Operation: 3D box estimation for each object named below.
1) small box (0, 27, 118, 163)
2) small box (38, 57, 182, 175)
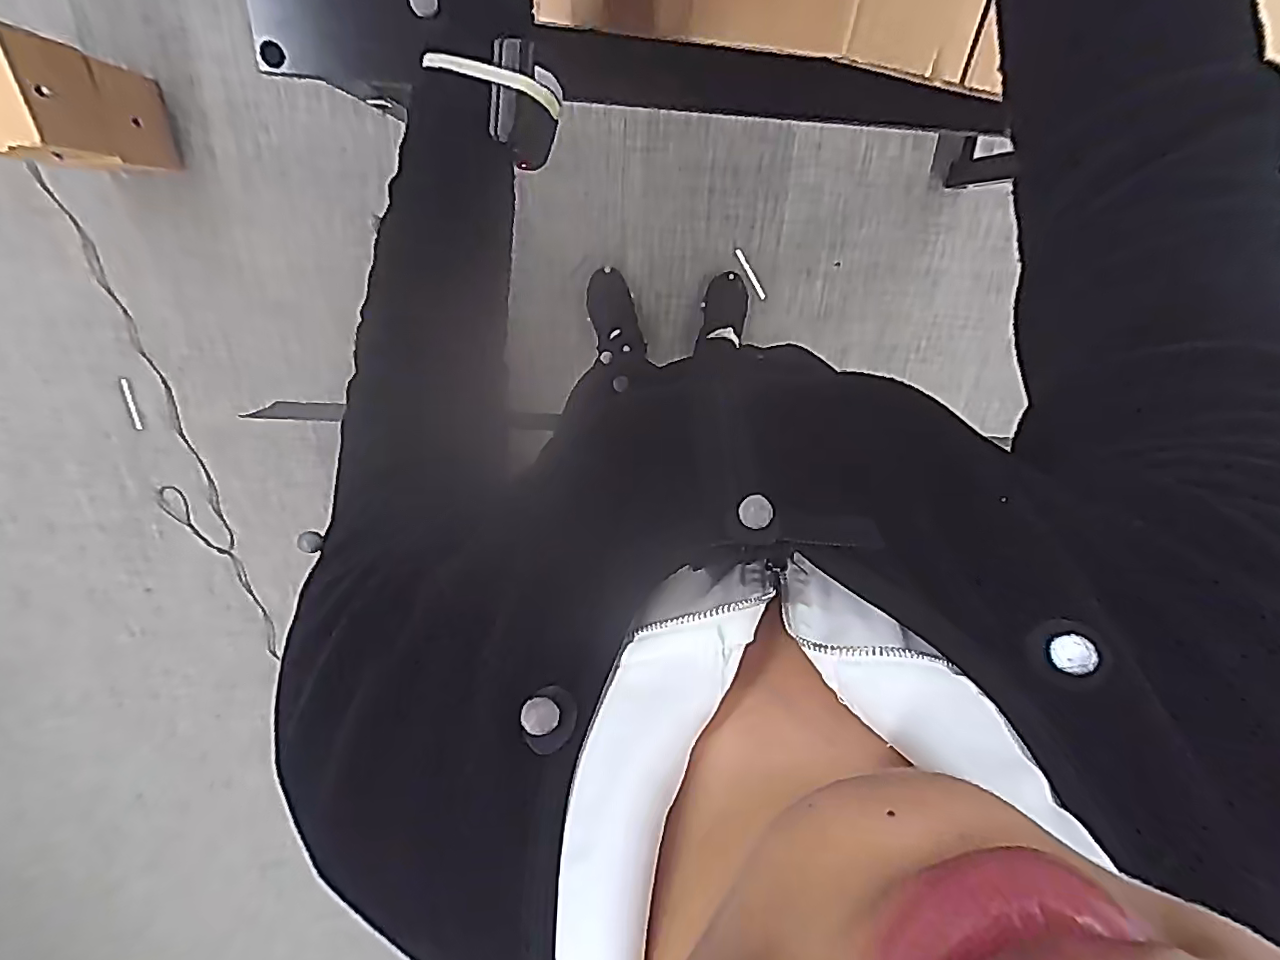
[{"bbox_3d":[-1.079,-0.659,0.936,0.168,0.176,0.179,-5,114,-2],"label":"small box"},{"bbox_3d":[-1.086,-0.721,1.086,0.168,0.176,0.179,-2,115,-2],"label":"small box"}]
